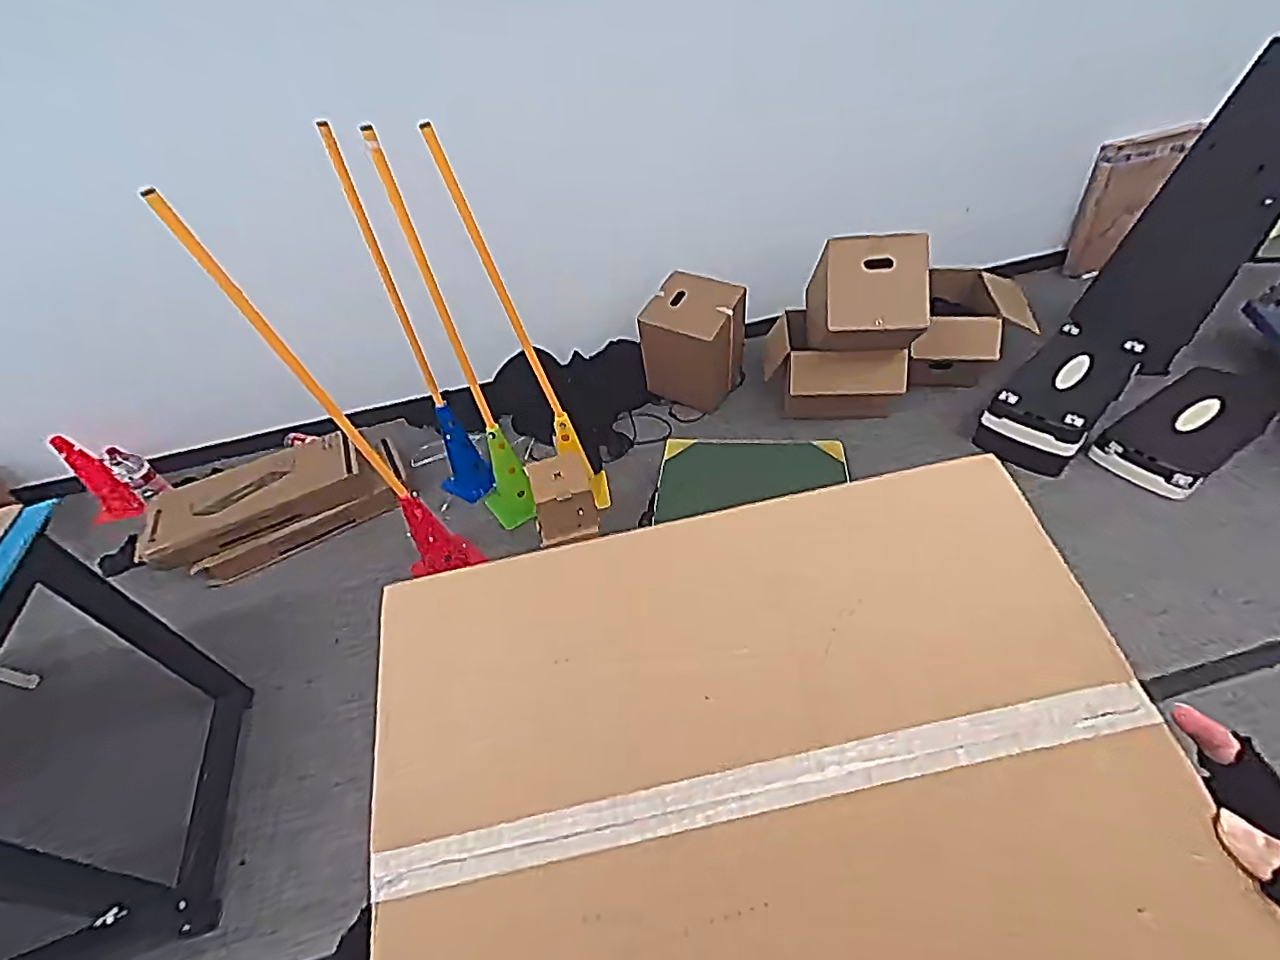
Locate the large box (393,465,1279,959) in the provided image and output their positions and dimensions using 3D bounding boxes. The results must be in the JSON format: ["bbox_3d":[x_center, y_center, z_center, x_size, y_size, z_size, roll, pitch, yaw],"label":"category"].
[{"bbox_3d":[0.078,0.235,0.416,0.408,0.320,0.320,-13,61,0],"label":"large box"}]
